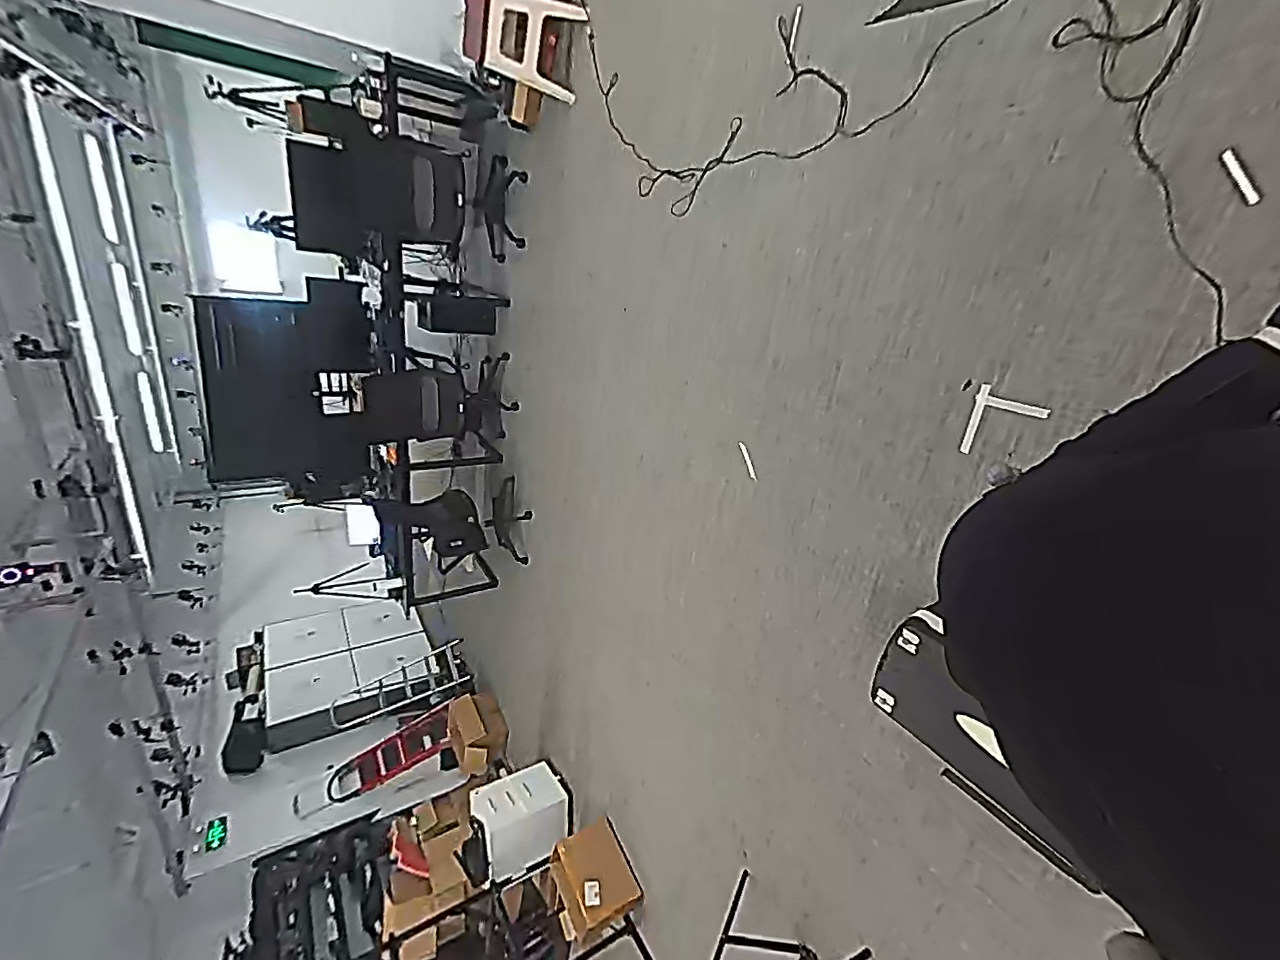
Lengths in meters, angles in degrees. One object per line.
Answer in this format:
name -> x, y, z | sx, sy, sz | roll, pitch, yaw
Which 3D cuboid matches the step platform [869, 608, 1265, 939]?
step platform -> 0.872, 0.601, 1.222 | 0.684, 0.204, 0.286 | 36, 126, 47
